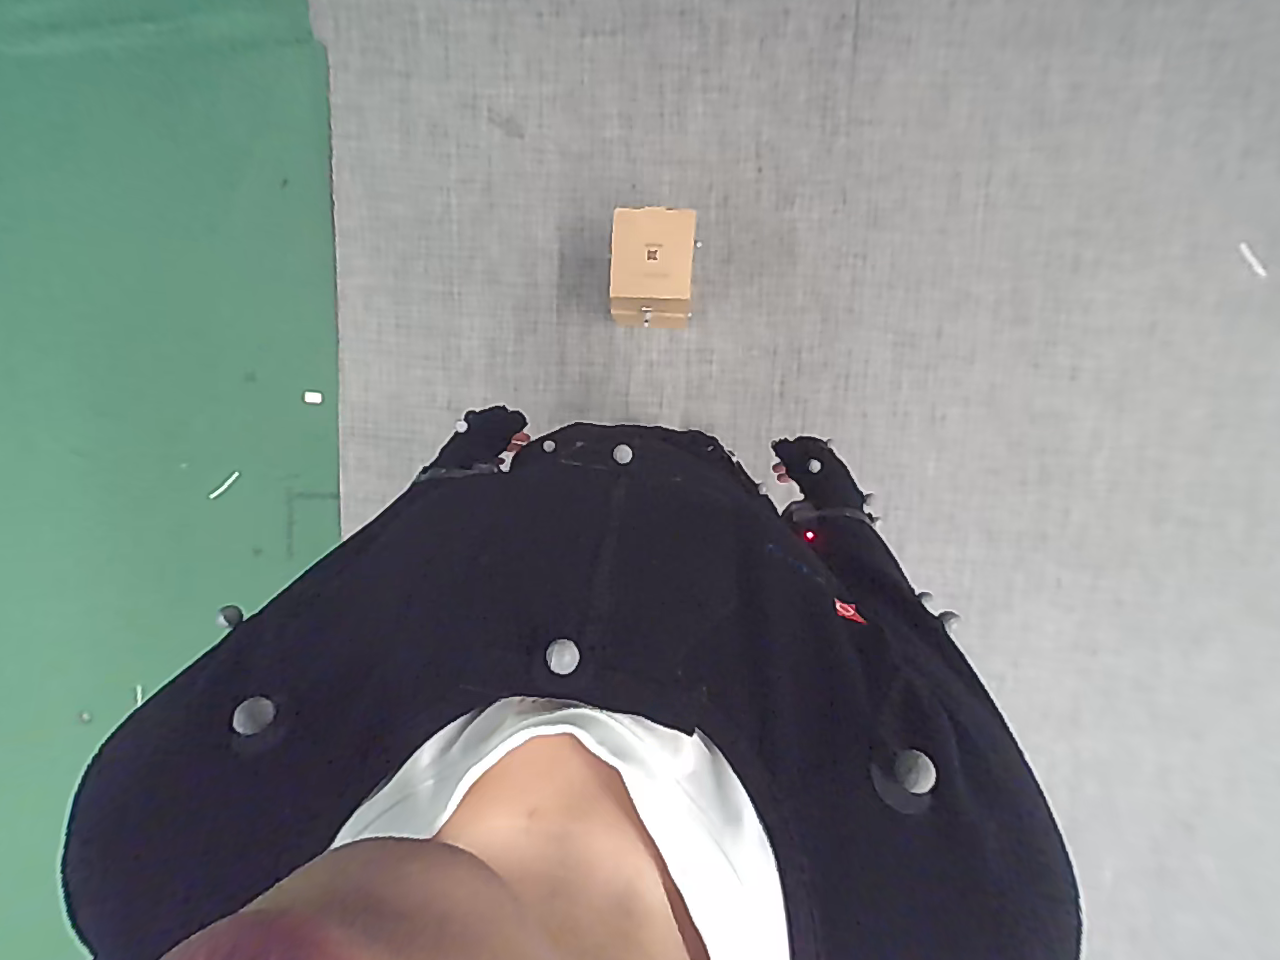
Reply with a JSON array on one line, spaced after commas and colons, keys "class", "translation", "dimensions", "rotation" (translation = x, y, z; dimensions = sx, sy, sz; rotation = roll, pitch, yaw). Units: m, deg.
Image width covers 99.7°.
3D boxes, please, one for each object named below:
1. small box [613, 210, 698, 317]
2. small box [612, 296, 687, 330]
[{"class": "small box", "translation": [0.036, -0.461, 1.171], "dimensions": [0.168, 0.176, 0.179], "rotation": [3, 96, 5]}, {"class": "small box", "translation": [0.033, -0.469, 1.333], "dimensions": [0.179, 0.176, 0.168], "rotation": [4, 96, 5]}]
